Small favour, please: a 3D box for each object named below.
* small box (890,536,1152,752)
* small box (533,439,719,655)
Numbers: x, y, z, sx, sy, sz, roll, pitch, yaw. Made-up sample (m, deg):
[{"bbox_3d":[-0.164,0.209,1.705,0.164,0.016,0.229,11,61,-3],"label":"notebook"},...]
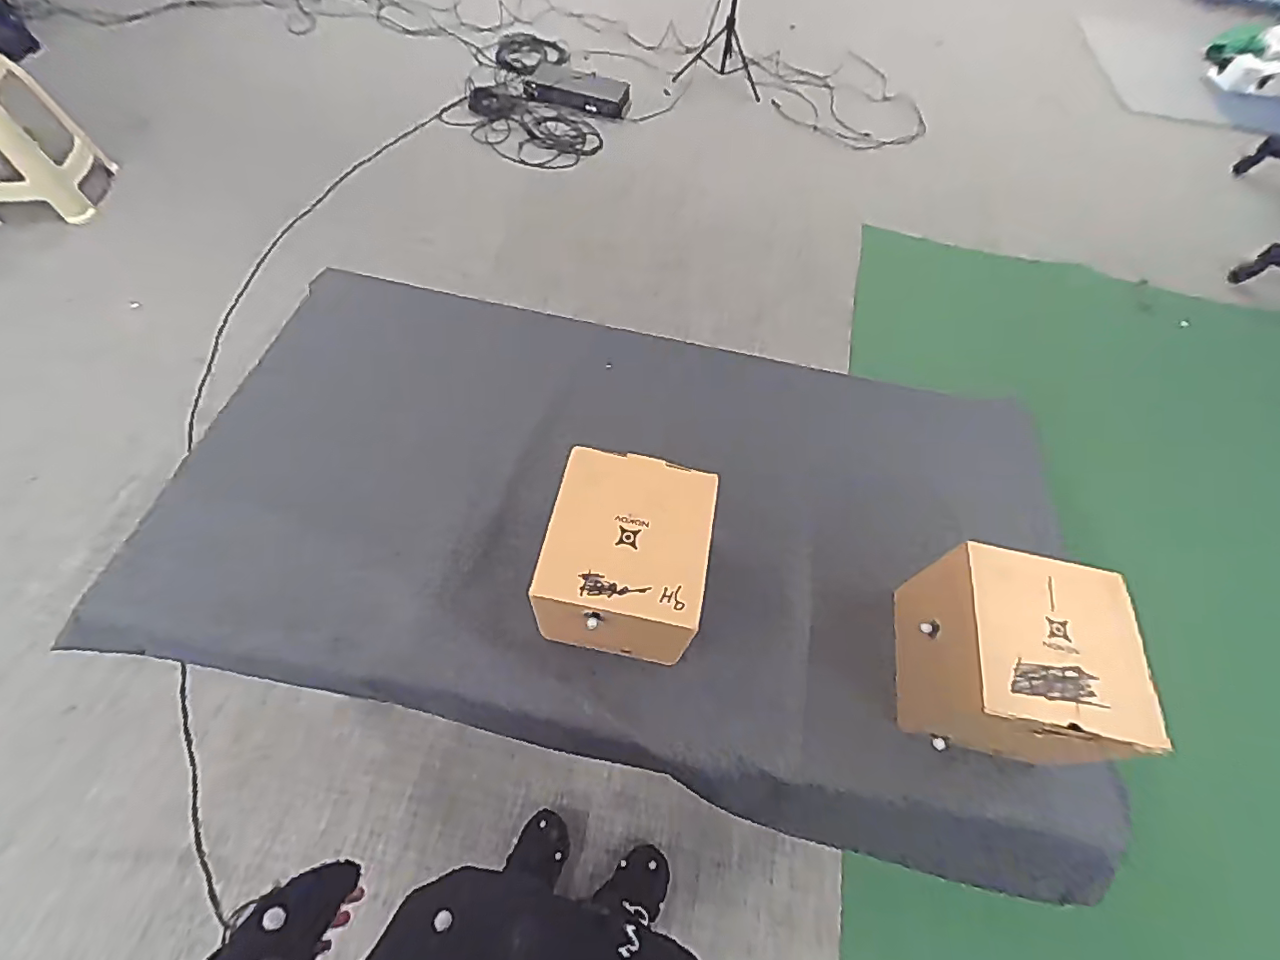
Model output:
[{"bbox_3d":[0.397,0.190,0.603,0.168,0.176,0.179,13,59,3],"label":"small box"},{"bbox_3d":[-0.016,0.084,0.628,0.168,0.176,0.179,12,60,2],"label":"small box"}]
